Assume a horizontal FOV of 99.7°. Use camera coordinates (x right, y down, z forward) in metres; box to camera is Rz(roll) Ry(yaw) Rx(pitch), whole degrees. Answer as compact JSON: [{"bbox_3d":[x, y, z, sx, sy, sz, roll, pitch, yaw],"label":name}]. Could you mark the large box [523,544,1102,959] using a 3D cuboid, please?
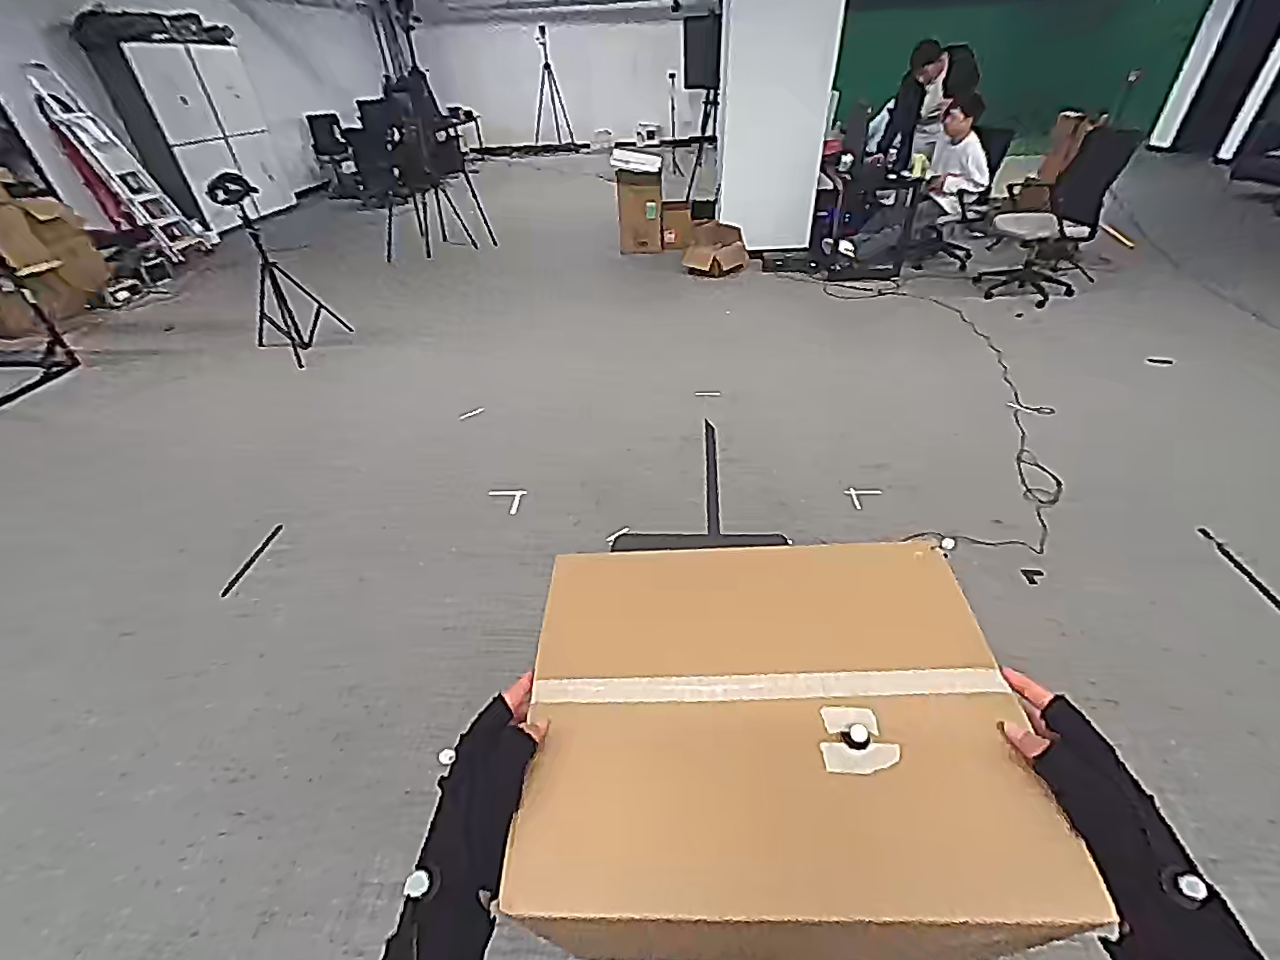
[{"bbox_3d":[0.124,0.291,0.578,0.408,0.320,0.320,-2,44,4],"label":"large box"}]
